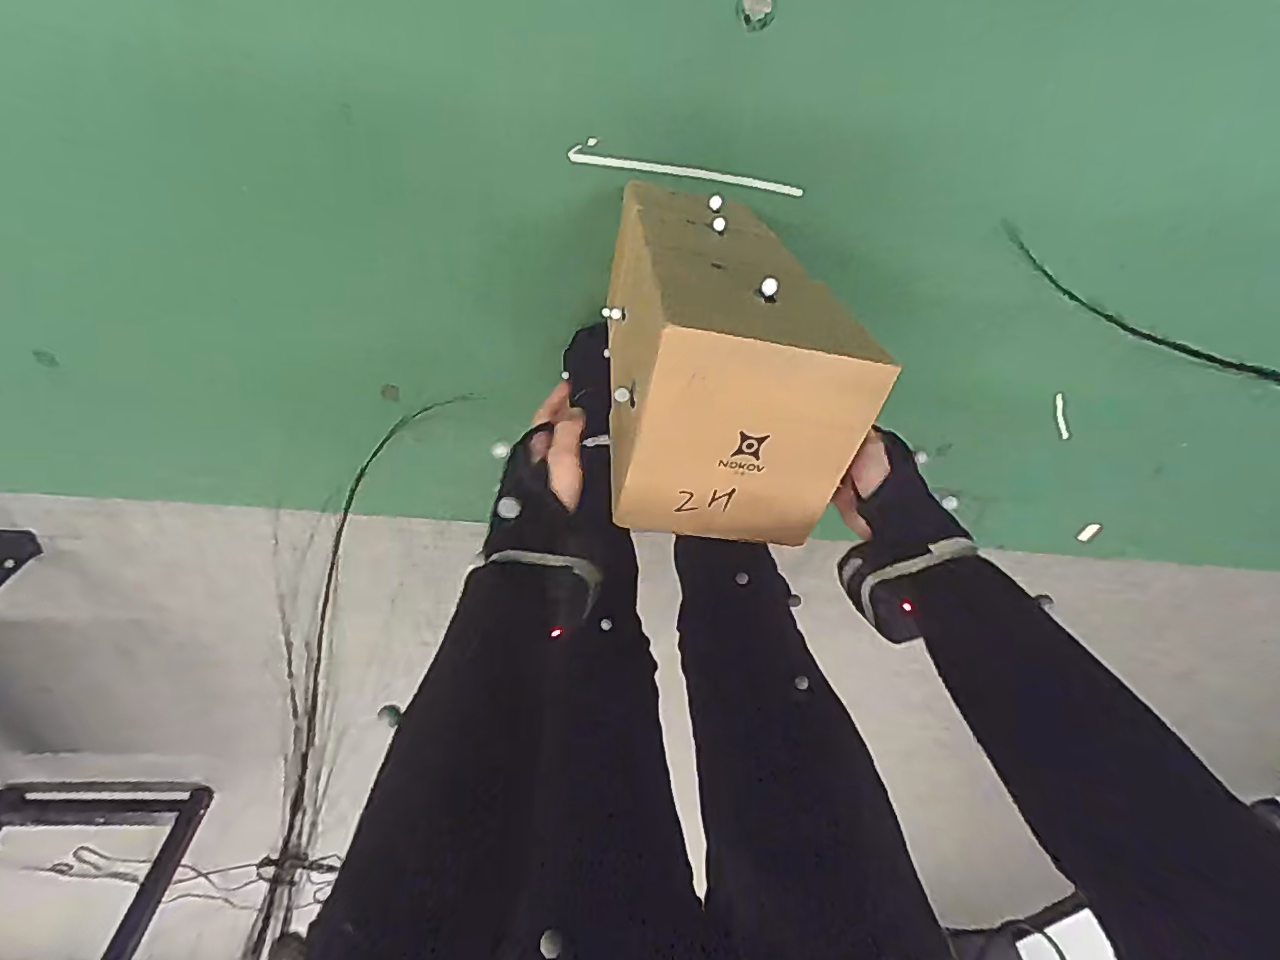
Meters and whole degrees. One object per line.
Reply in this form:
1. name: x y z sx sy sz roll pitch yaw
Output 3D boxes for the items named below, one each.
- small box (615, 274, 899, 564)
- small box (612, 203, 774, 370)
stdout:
1. small box: 0.073 -0.055 0.460 0.168 0.176 0.179 8 127 -10
2. small box: 0.055 -0.252 0.724 0.168 0.176 0.179 7 127 -9
